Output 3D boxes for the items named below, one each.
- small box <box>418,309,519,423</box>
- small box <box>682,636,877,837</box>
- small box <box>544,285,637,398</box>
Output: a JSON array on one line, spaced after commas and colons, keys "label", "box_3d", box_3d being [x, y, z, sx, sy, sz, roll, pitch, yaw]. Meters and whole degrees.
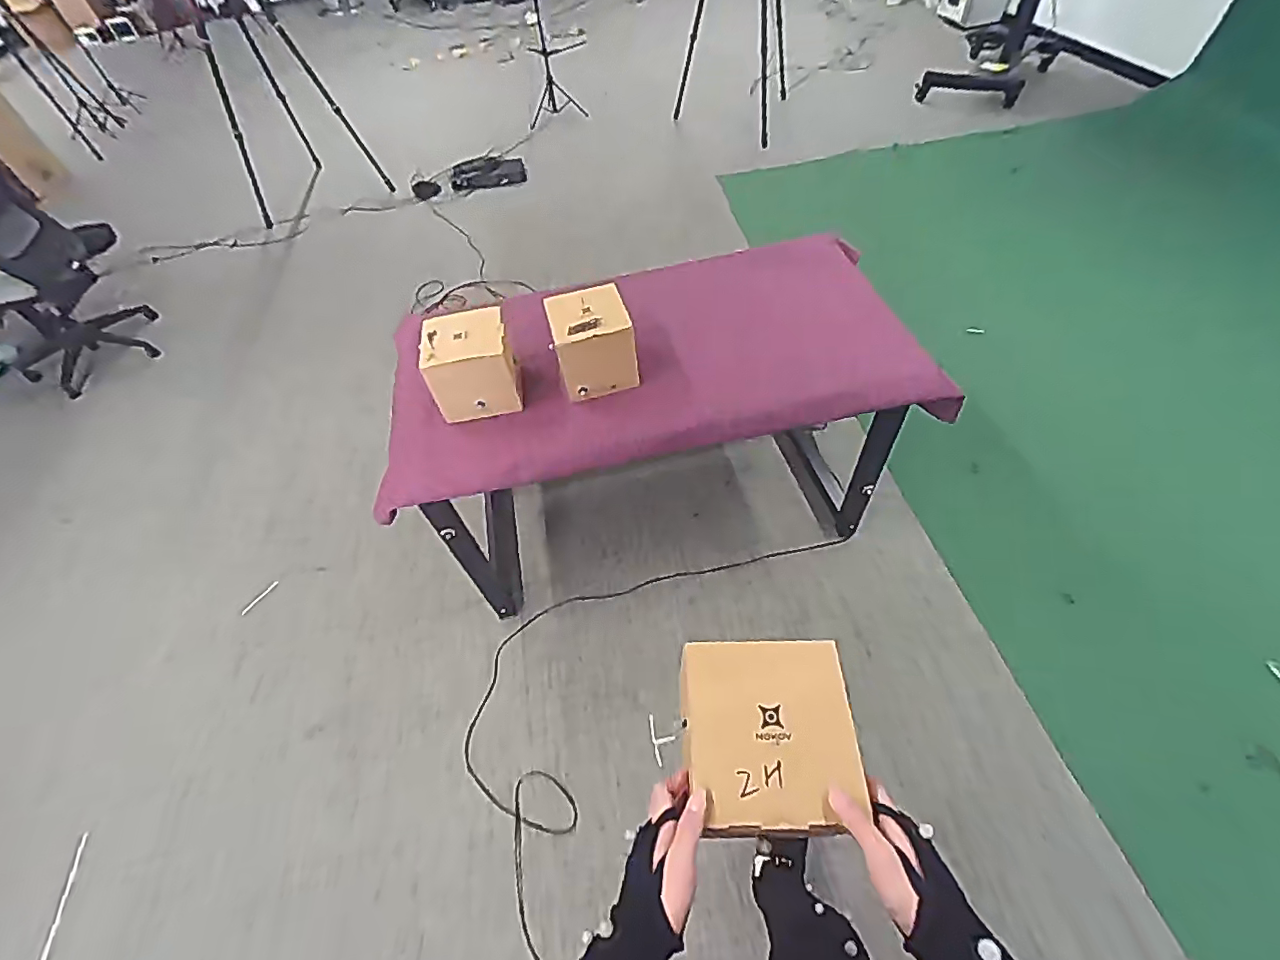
[{"label": "small box", "box_3d": [-0.369, -0.249, 1.198, 0.179, 0.176, 0.168, -10, 52, -4]}, {"label": "small box", "box_3d": [0.135, 0.288, 0.603, 0.168, 0.176, 0.179, 0, 54, 1]}, {"label": "small box", "box_3d": [-0.108, -0.303, 1.215, 0.168, 0.176, 0.179, -15, 52, -6]}]
